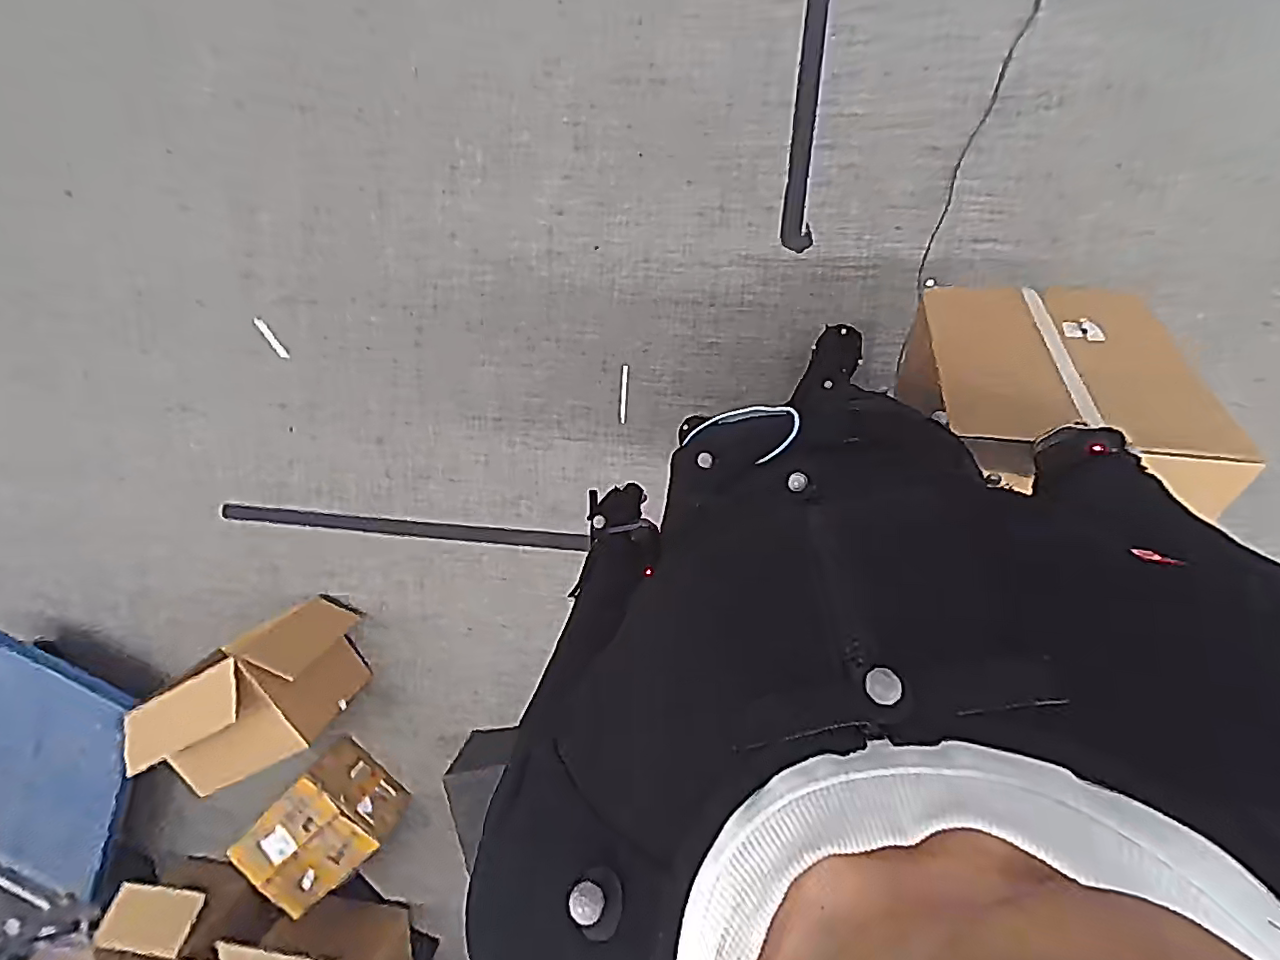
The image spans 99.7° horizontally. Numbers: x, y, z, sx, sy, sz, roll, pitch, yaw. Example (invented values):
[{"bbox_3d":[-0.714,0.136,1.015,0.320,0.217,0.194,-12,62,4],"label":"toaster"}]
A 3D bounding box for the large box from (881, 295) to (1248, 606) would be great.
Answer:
[{"bbox_3d":[0.596,-0.062,0.877,0.320,0.408,0.320,7,135,13],"label":"large box"}]
